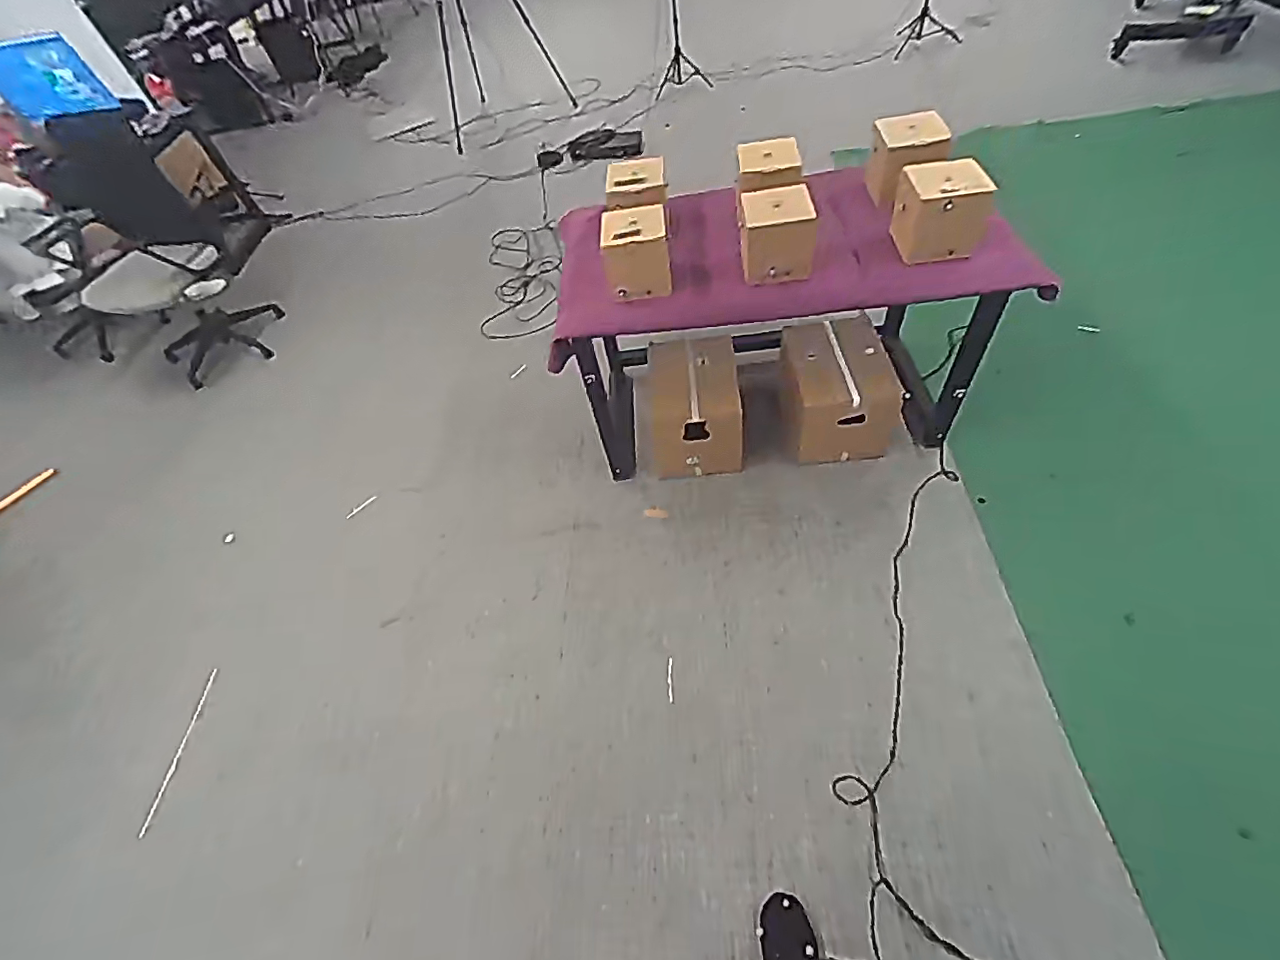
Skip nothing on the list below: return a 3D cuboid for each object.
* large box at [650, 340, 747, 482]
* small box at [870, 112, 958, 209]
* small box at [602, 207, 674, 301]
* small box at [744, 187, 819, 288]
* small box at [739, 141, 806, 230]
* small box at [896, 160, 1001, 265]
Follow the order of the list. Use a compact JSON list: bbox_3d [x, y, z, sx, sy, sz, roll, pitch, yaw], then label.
[{"bbox_3d":[0.213,-0.250,1.983,0.320,0.320,0.408,-5,52,7],"label":"large box"},{"bbox_3d":[0.756,-0.893,1.517,0.168,0.176,0.179,-5,54,10],"label":"small box"},{"bbox_3d":[-0.001,-0.594,1.443,0.168,0.176,0.179,-5,51,6],"label":"small box"},{"bbox_3d":[0.358,-0.624,1.397,0.168,0.176,0.179,-4,52,9],"label":"small box"},{"bbox_3d":[0.376,-0.844,1.561,0.168,0.176,0.179,-3,54,8],"label":"small box"},{"bbox_3d":[0.754,-0.663,1.346,0.168,0.176,0.179,-4,51,10],"label":"small box"}]
